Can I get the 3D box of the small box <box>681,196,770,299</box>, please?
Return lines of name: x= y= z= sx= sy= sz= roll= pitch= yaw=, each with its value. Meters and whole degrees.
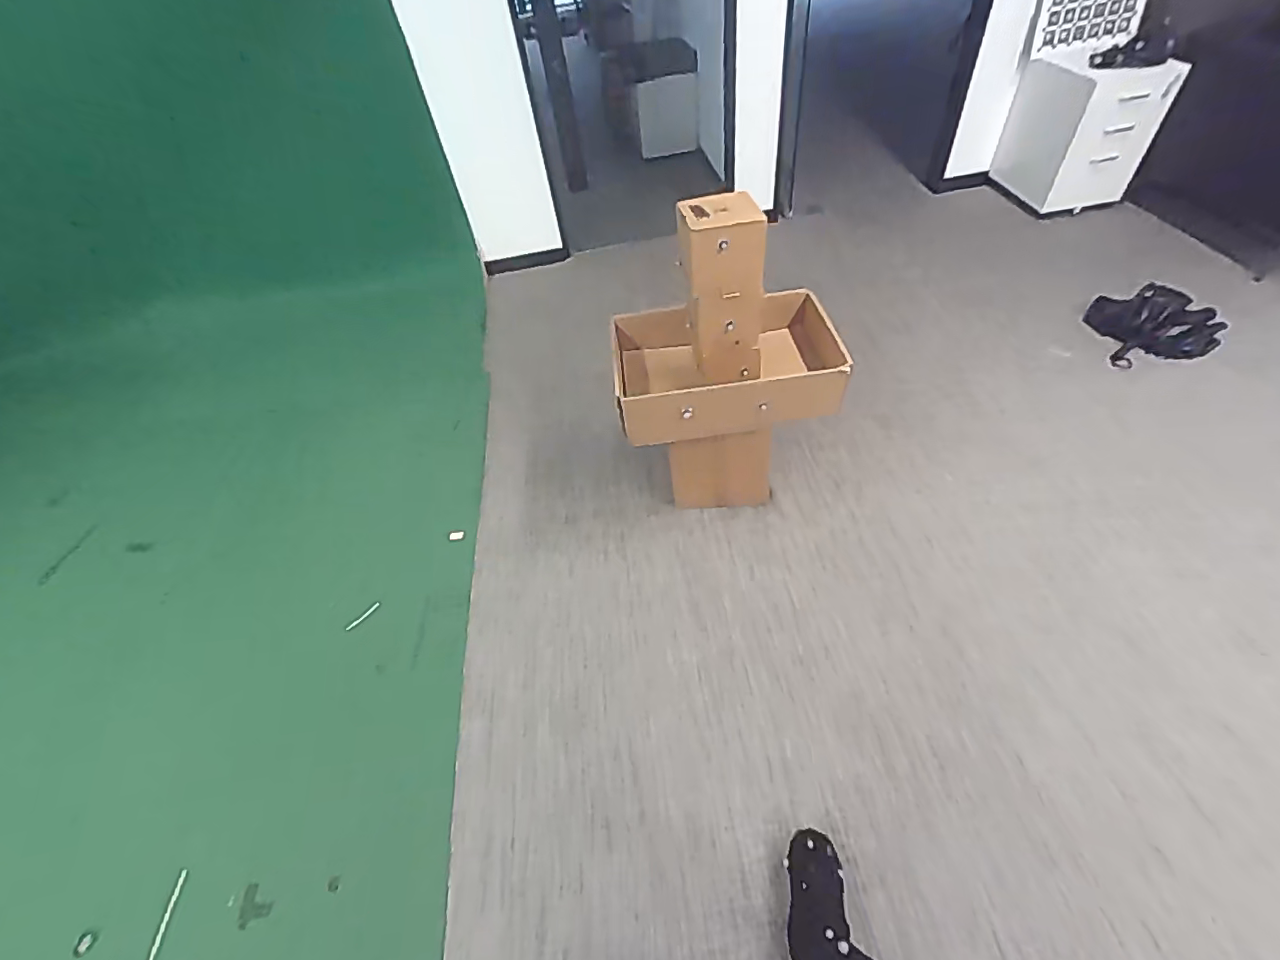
small box: x=0.203 y=-0.556 z=1.305 sx=0.179 sy=0.176 sz=0.168 roll=-10 pitch=48 yaw=-2

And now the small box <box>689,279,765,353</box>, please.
small box: x=0.227 y=-0.451 z=1.431 sx=0.168 sy=0.176 sz=0.179 roll=-9 pitch=49 yaw=0

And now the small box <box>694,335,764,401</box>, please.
small box: x=0.252 y=-0.343 z=1.551 sx=0.168 sy=0.176 sz=0.179 roll=-9 pitch=47 yaw=0
